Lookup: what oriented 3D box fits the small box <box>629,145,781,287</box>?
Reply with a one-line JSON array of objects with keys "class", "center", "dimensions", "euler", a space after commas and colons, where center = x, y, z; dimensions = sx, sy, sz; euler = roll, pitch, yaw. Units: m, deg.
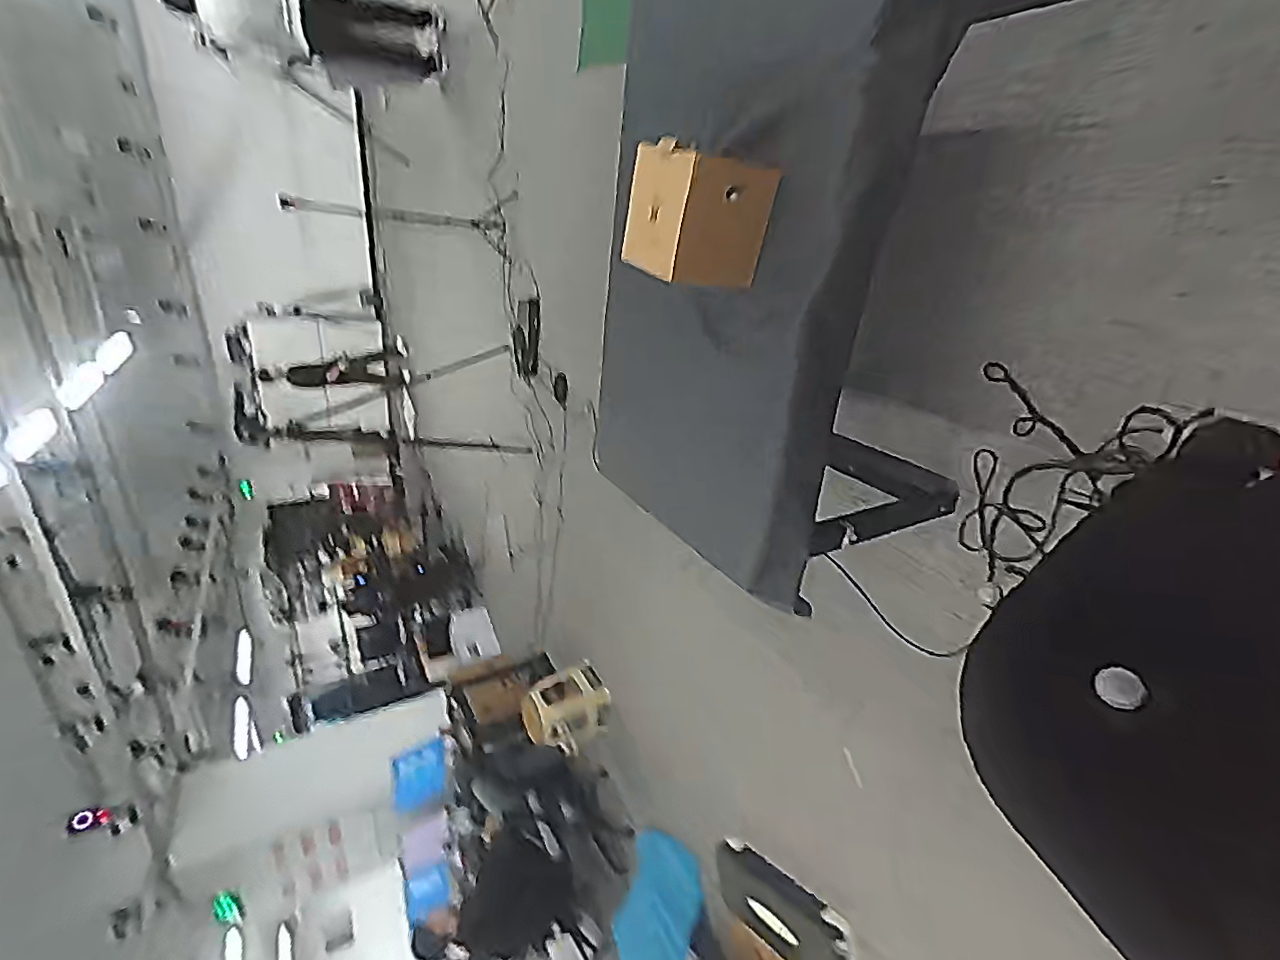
[{"class": "small box", "center": [0.103, -0.427, 0.883], "dimensions": [0.168, 0.176, 0.179], "euler": [47, 136, 45]}]
